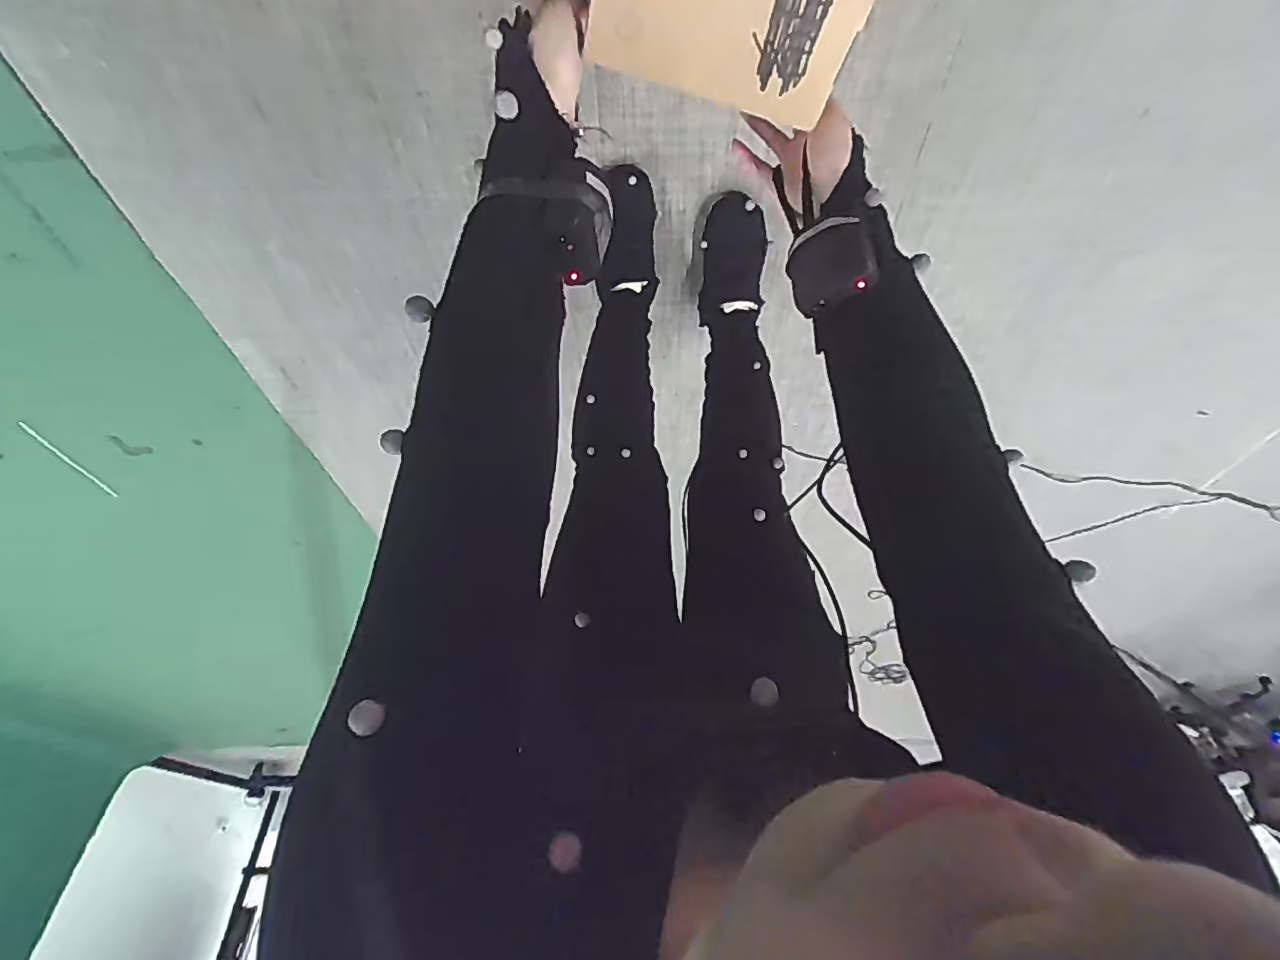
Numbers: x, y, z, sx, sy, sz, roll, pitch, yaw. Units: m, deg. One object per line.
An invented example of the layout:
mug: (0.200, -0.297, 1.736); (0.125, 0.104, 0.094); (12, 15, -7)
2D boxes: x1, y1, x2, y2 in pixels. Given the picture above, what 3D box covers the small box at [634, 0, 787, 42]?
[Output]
small box: (0.062, -0.520, 0.455); (0.168, 0.176, 0.179); (8, 141, -10)
